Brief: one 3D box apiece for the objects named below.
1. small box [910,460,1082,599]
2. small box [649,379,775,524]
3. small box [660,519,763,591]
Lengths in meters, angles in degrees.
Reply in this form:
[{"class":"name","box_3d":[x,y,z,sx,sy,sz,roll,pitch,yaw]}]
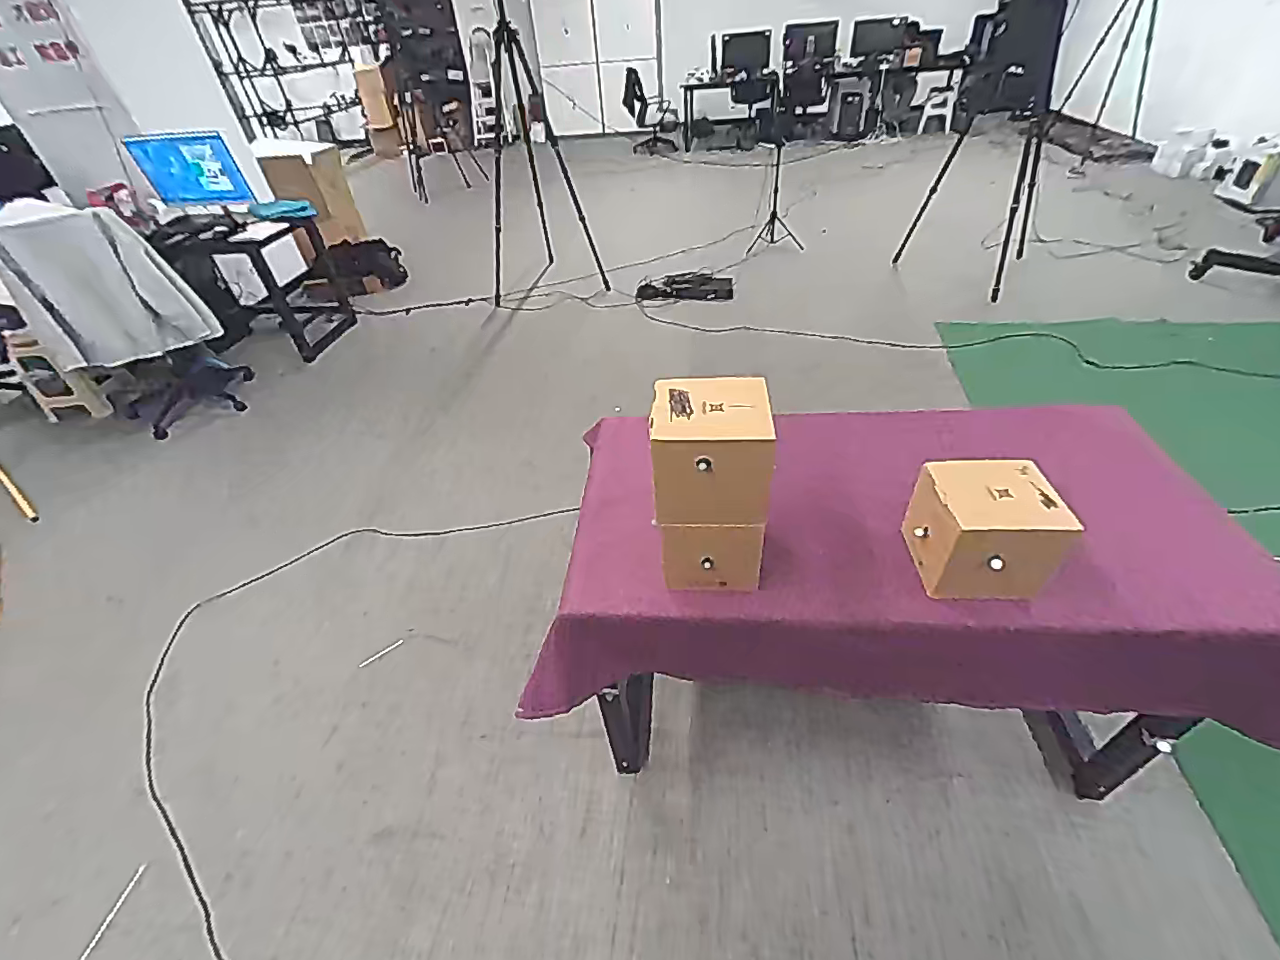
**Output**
[{"class":"small box","box_3d":[0.570,0.084,0.902,0.179,0.176,0.168,-2,41,7]},{"class":"small box","box_3d":[0.112,-0.043,0.856,0.179,0.176,0.168,0,41,6]},{"class":"small box","box_3d":[0.127,0.081,0.963,0.168,0.176,0.179,0,40,7]}]
